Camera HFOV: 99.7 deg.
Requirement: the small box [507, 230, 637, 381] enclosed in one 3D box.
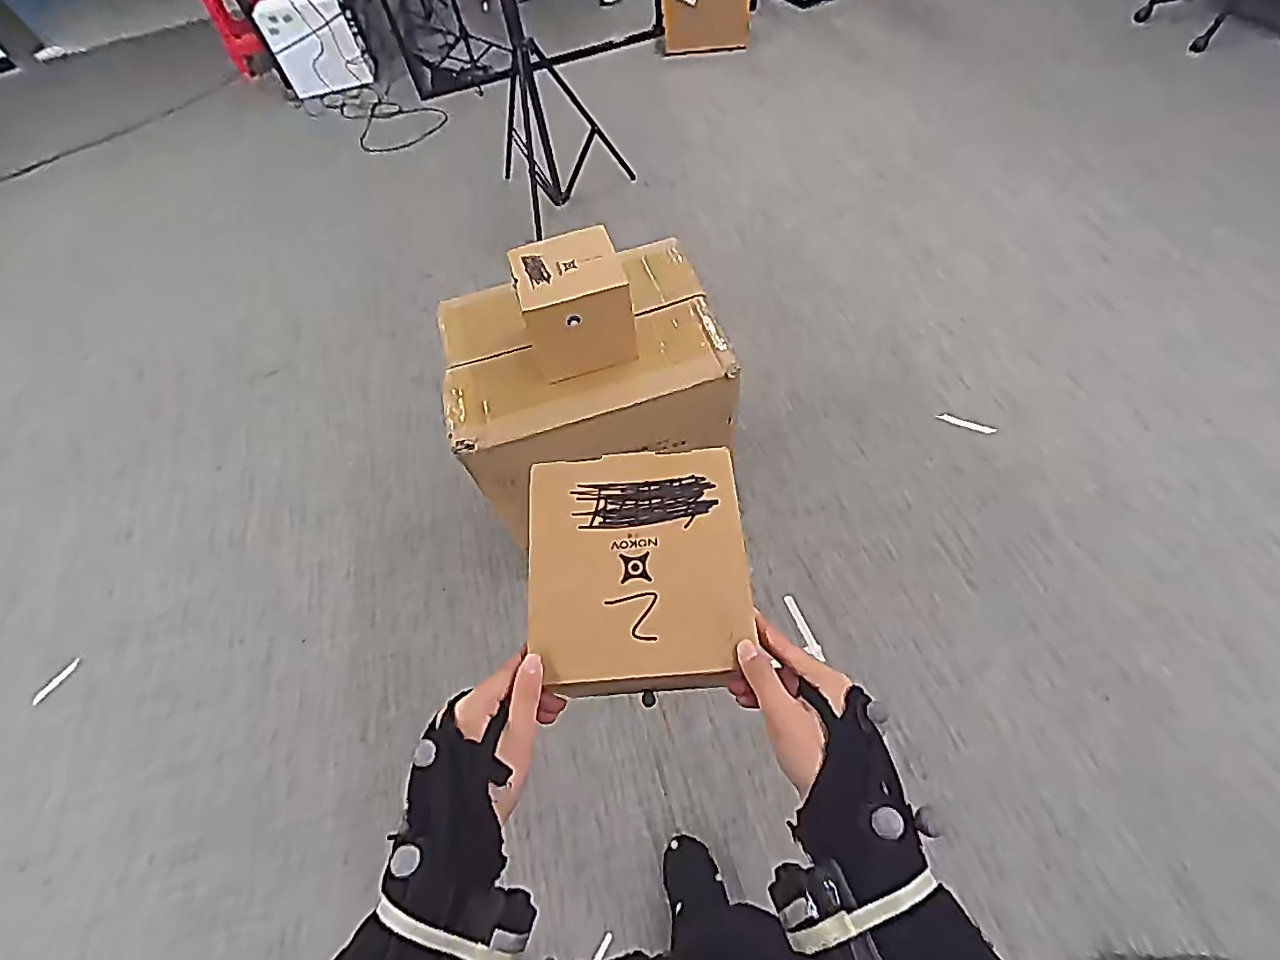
[{"bbox_3d":[-0.116,-0.300,0.954,0.179,0.176,0.168,-17,59,-4],"label":"small box"}]
